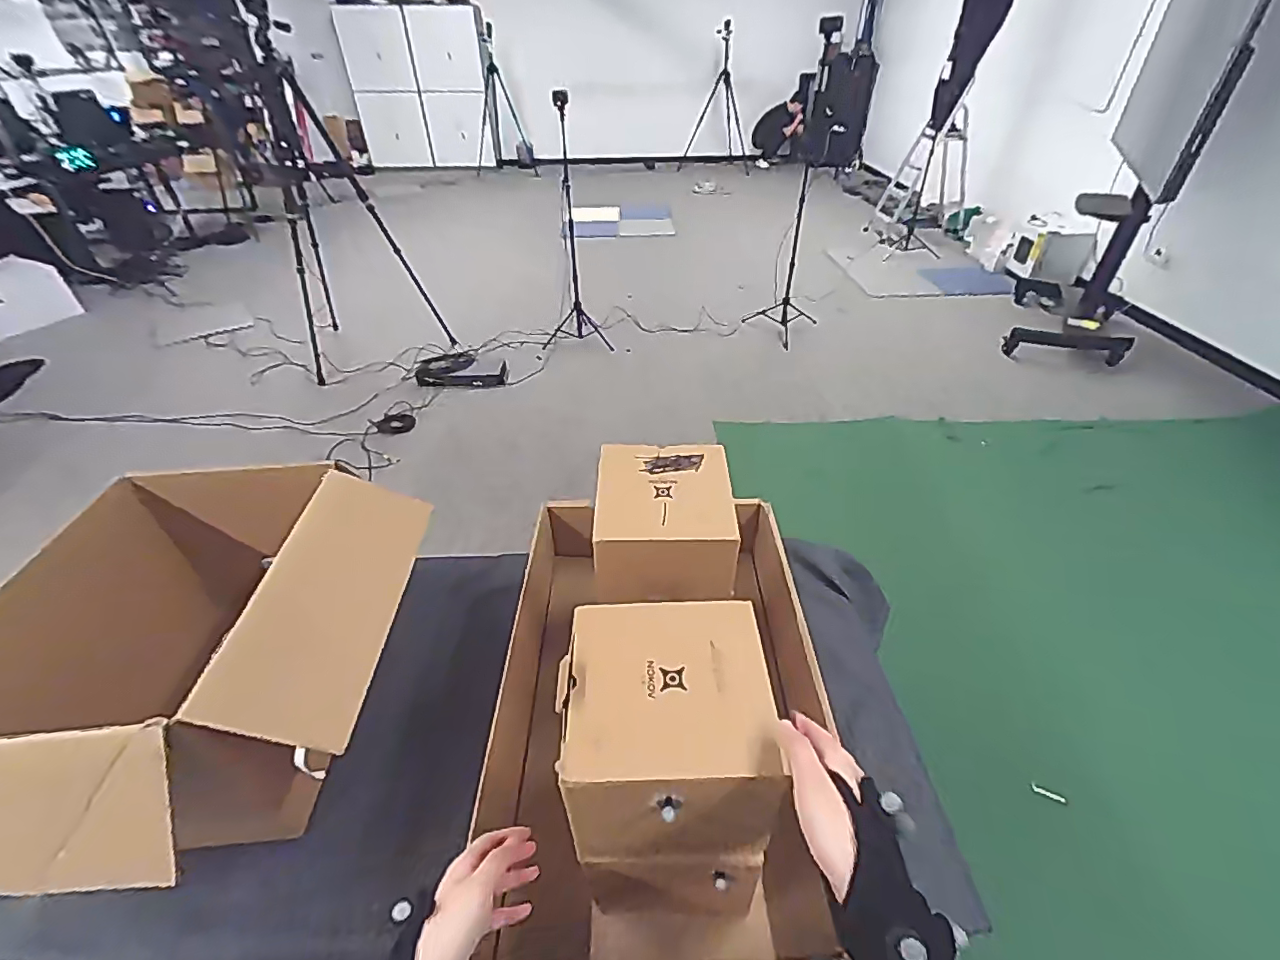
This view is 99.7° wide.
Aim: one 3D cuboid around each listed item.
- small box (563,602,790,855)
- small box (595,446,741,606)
[{"bbox_3d":[0.028,0.236,0.517,0.179,0.176,0.168,-1,39,-1],"label":"small box"},{"bbox_3d":[0.033,0.073,0.711,0.168,0.176,0.179,0,41,1],"label":"small box"}]
